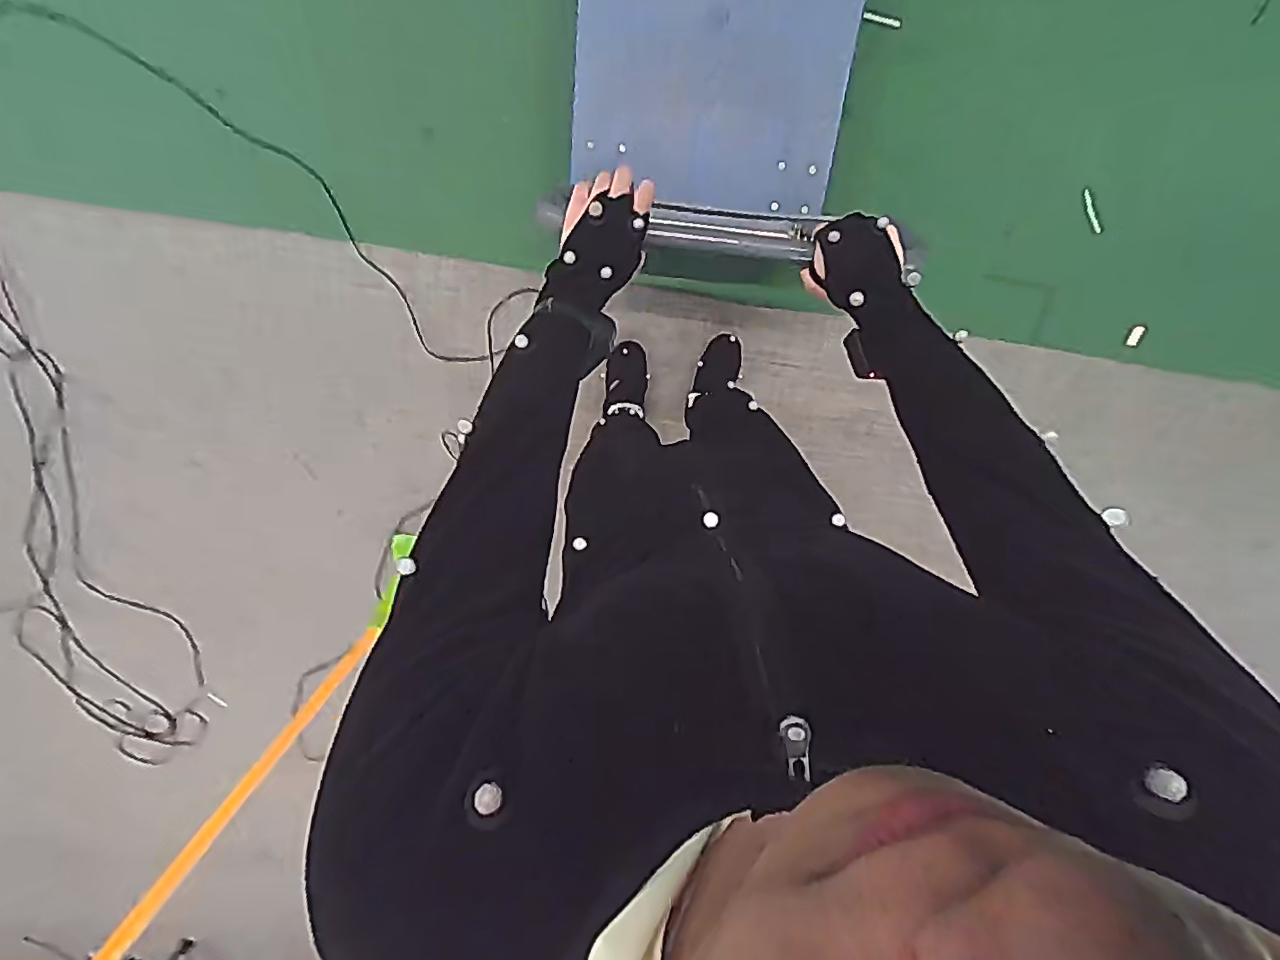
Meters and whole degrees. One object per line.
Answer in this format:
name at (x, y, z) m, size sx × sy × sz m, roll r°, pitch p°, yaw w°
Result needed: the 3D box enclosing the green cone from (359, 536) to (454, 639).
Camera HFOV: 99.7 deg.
green cone at (-0.719, 0.340, 1.611) m, size 0.202 × 0.368 × 0.200 m, roll 6°, pitch 112°, yaw 1°
